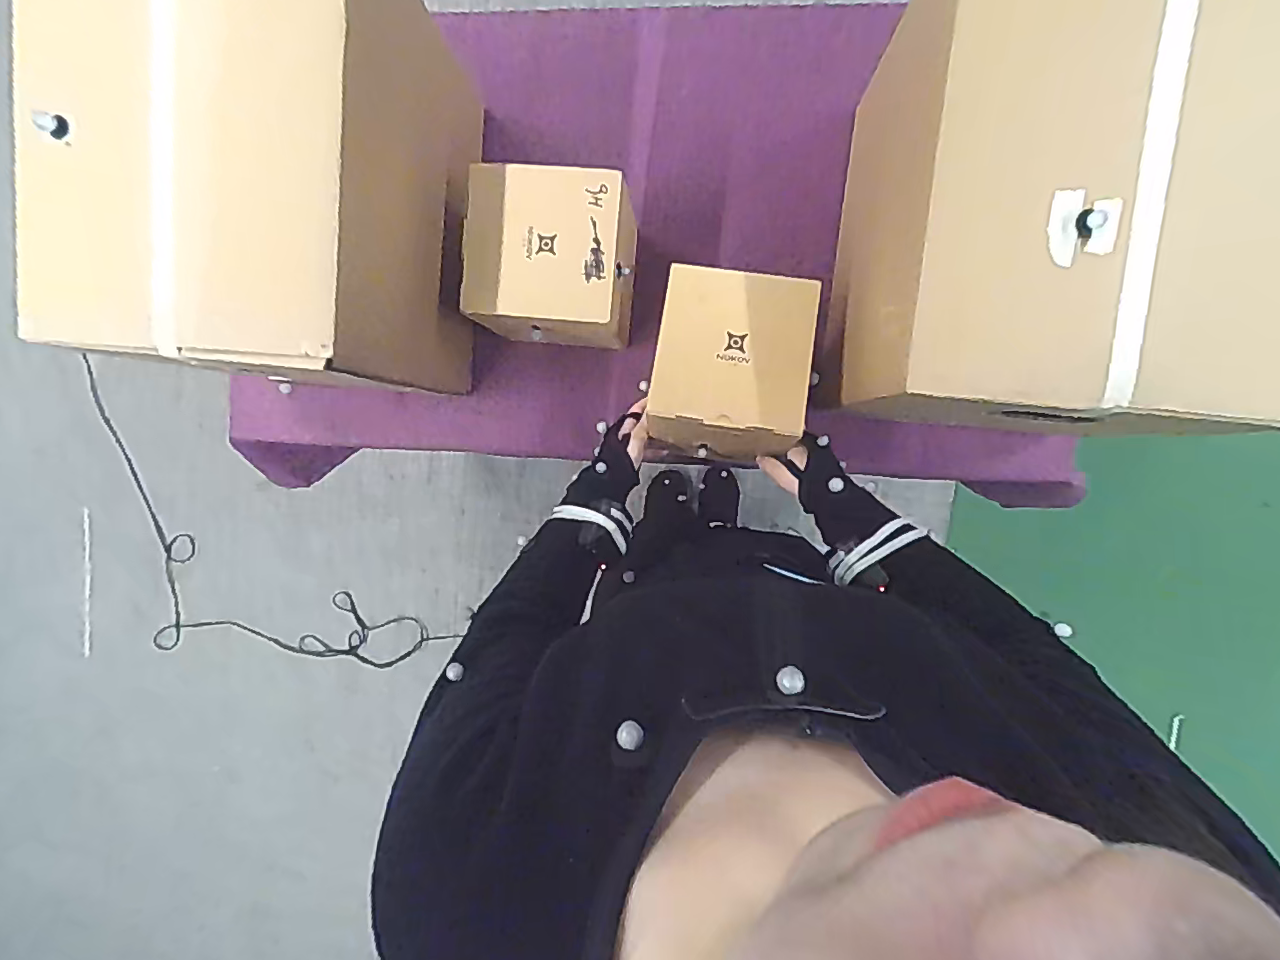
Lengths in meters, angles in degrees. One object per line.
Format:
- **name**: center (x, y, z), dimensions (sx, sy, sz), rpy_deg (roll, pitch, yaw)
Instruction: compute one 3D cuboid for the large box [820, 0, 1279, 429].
- **large box**: center (0.404, -0.270, 0.572), dimensions (0.320, 0.320, 0.408), rpy_deg (6, 95, 4)
